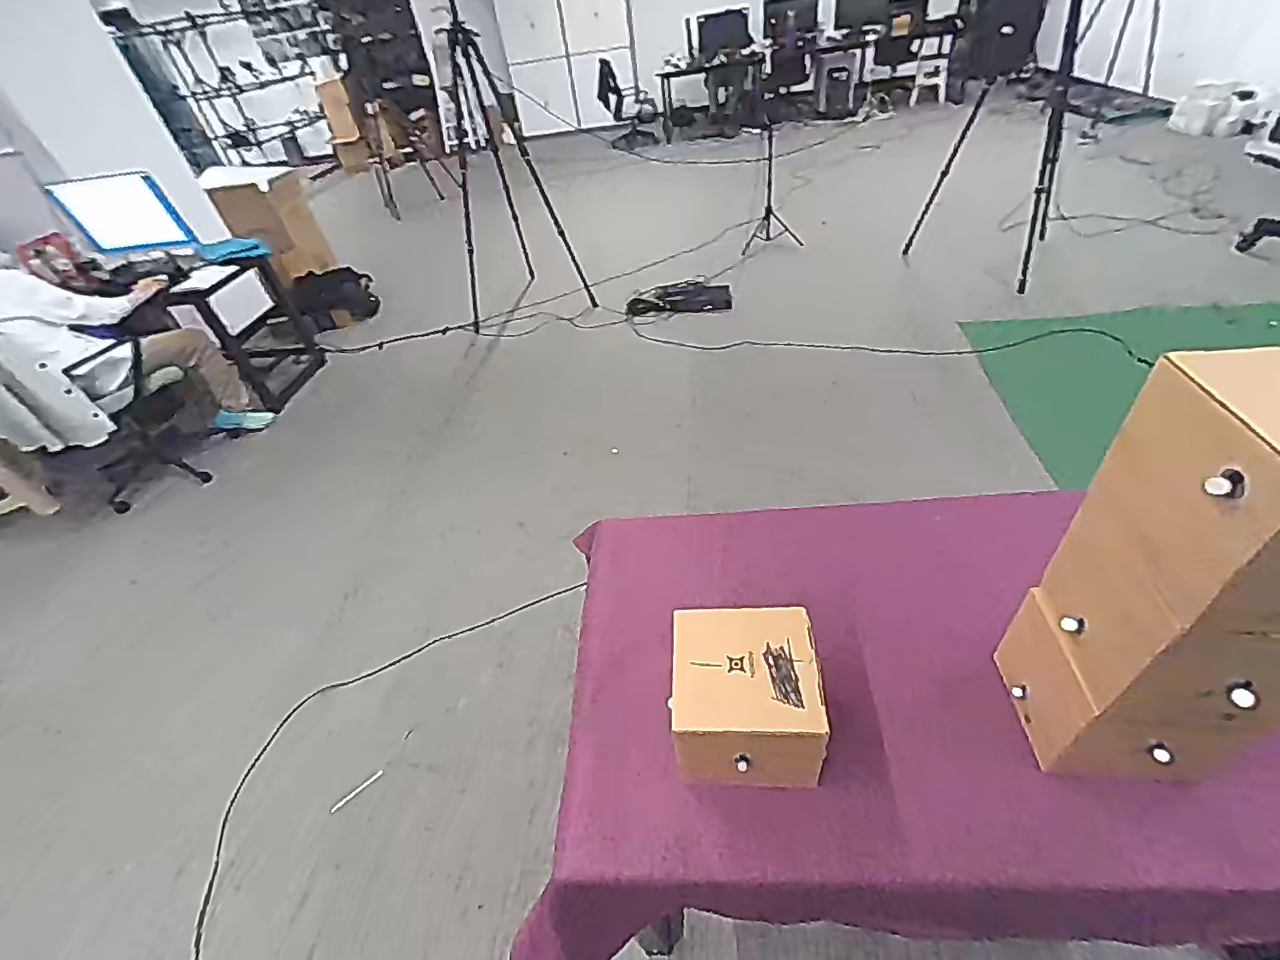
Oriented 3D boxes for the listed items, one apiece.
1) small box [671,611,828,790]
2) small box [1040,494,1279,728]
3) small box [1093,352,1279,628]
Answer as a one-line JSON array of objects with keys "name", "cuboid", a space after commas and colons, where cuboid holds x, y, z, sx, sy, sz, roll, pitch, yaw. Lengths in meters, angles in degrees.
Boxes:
[{"name": "small box", "cuboid": [0.138, 0.291, 0.713, 0.179, 0.176, 0.168, -4, 41, 9]}, {"name": "small box", "cuboid": [0.558, 0.132, 0.555, 0.168, 0.176, 0.179, 0, 43, 11]}, {"name": "small box", "cuboid": [0.533, 0.011, 0.446, 0.168, 0.176, 0.179, -1, 42, 11]}]
